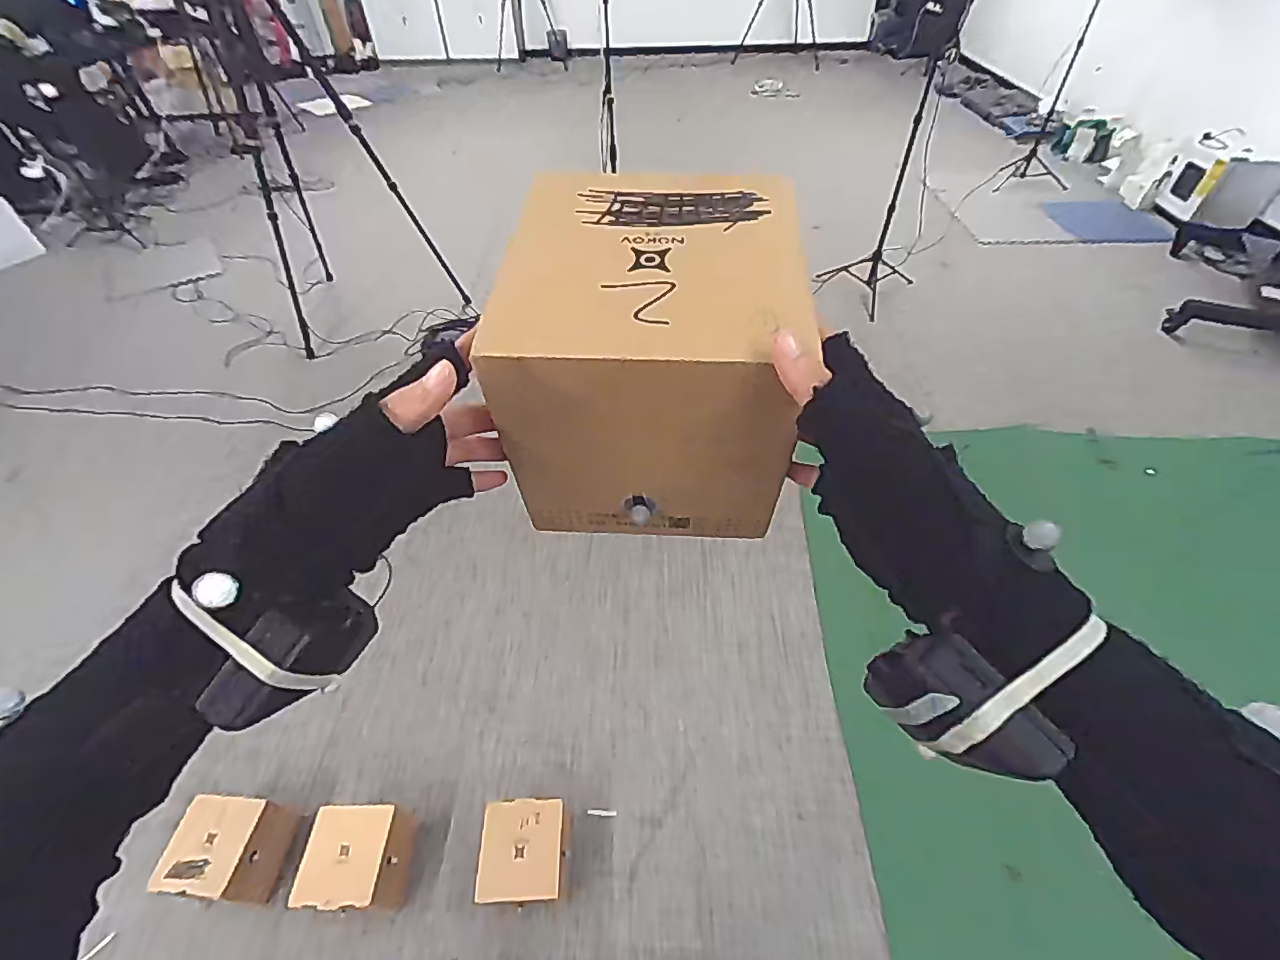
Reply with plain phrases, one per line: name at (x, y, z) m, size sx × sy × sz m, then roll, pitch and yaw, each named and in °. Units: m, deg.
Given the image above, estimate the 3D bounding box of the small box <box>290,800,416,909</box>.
small box at (-0.606, 0.812, 1.172) m, size 0.168 × 0.176 × 0.179 m, roll -1°, pitch 49°, yaw 1°

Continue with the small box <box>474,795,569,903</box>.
small box at (-0.246, 0.801, 1.171) m, size 0.168 × 0.176 × 0.179 m, roll -2°, pitch 48°, yaw -1°

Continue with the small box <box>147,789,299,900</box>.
small box at (-0.896, 0.802, 1.186) m, size 0.168 × 0.176 × 0.179 m, roll 3°, pitch 47°, yaw 4°
